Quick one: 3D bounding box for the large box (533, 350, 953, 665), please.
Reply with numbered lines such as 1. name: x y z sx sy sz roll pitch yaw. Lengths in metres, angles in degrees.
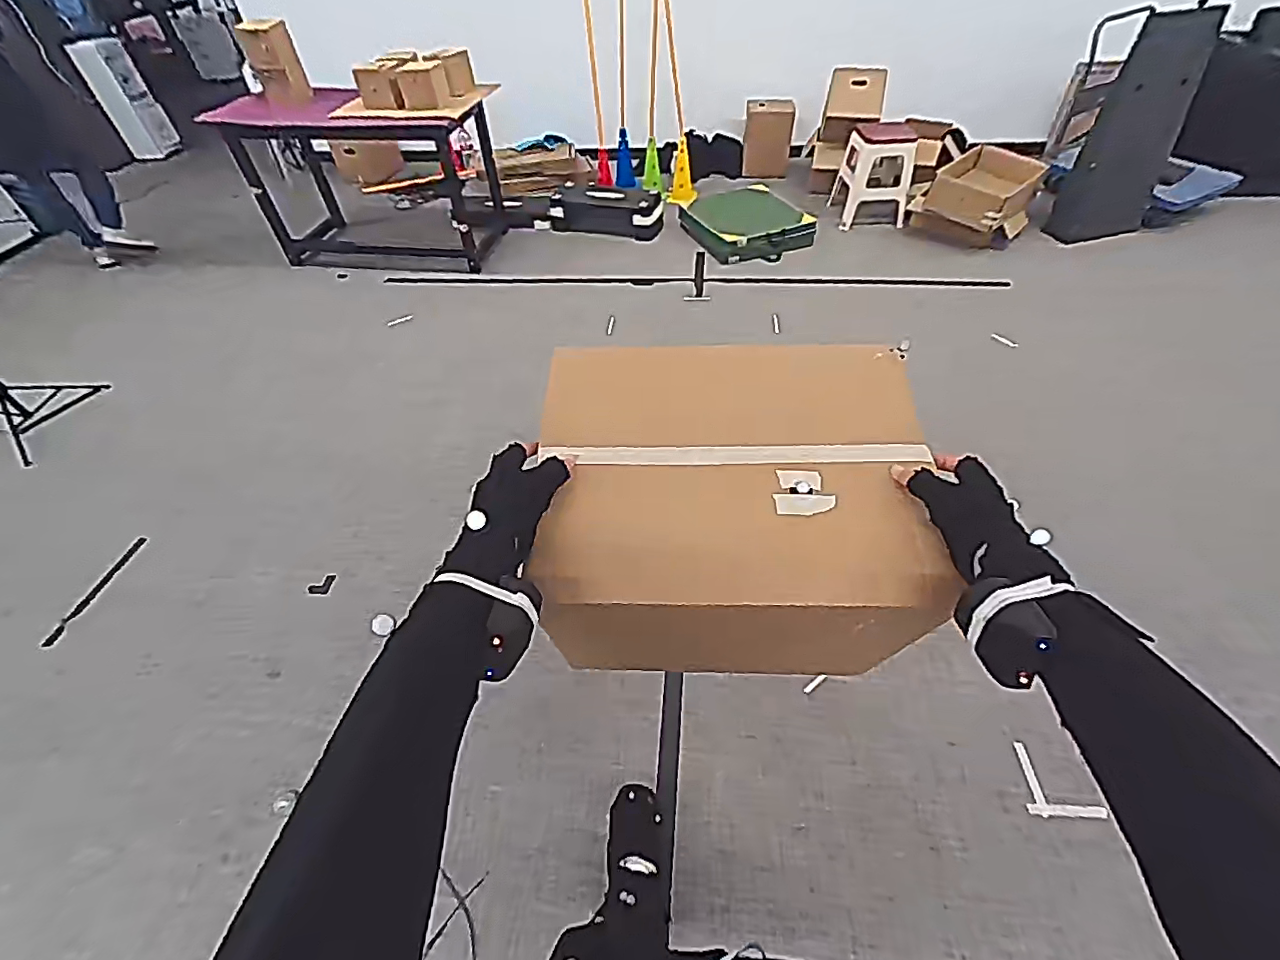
1. large box: 0.099 0.052 0.708 0.408 0.320 0.320 0 61 2
